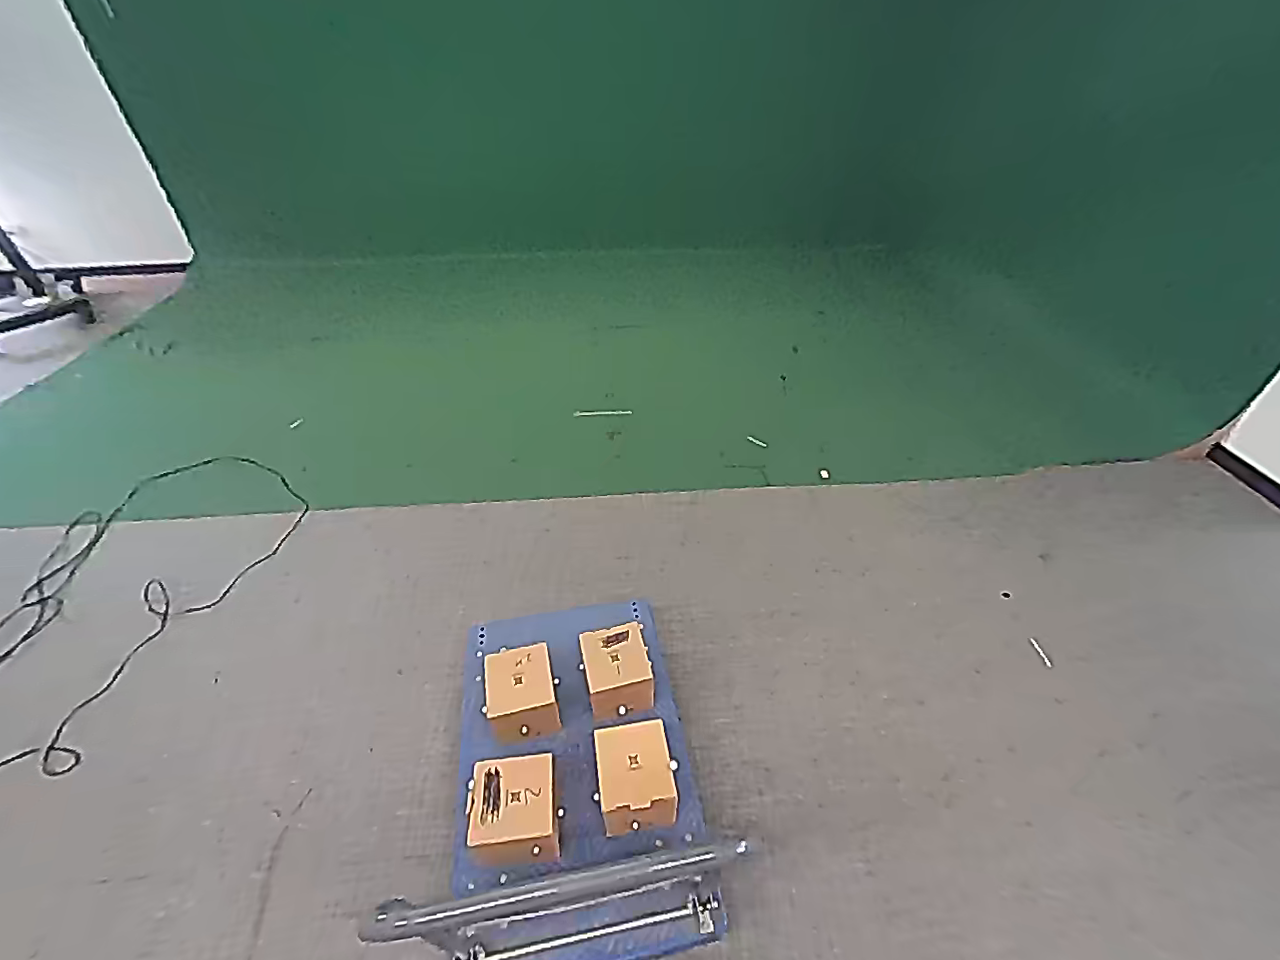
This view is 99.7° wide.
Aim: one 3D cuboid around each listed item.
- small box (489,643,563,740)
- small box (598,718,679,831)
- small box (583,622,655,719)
[{"bbox_3d":[-0.304,0.569,1.442,0.168,0.176,0.179,-9,42,-11],"label":"small box"},{"bbox_3d":[-0.009,0.701,1.289,0.168,0.176,0.179,-7,42,-7],"label":"small box"},{"bbox_3d":[-0.061,0.525,1.488,0.168,0.176,0.179,-11,43,-10],"label":"small box"}]
